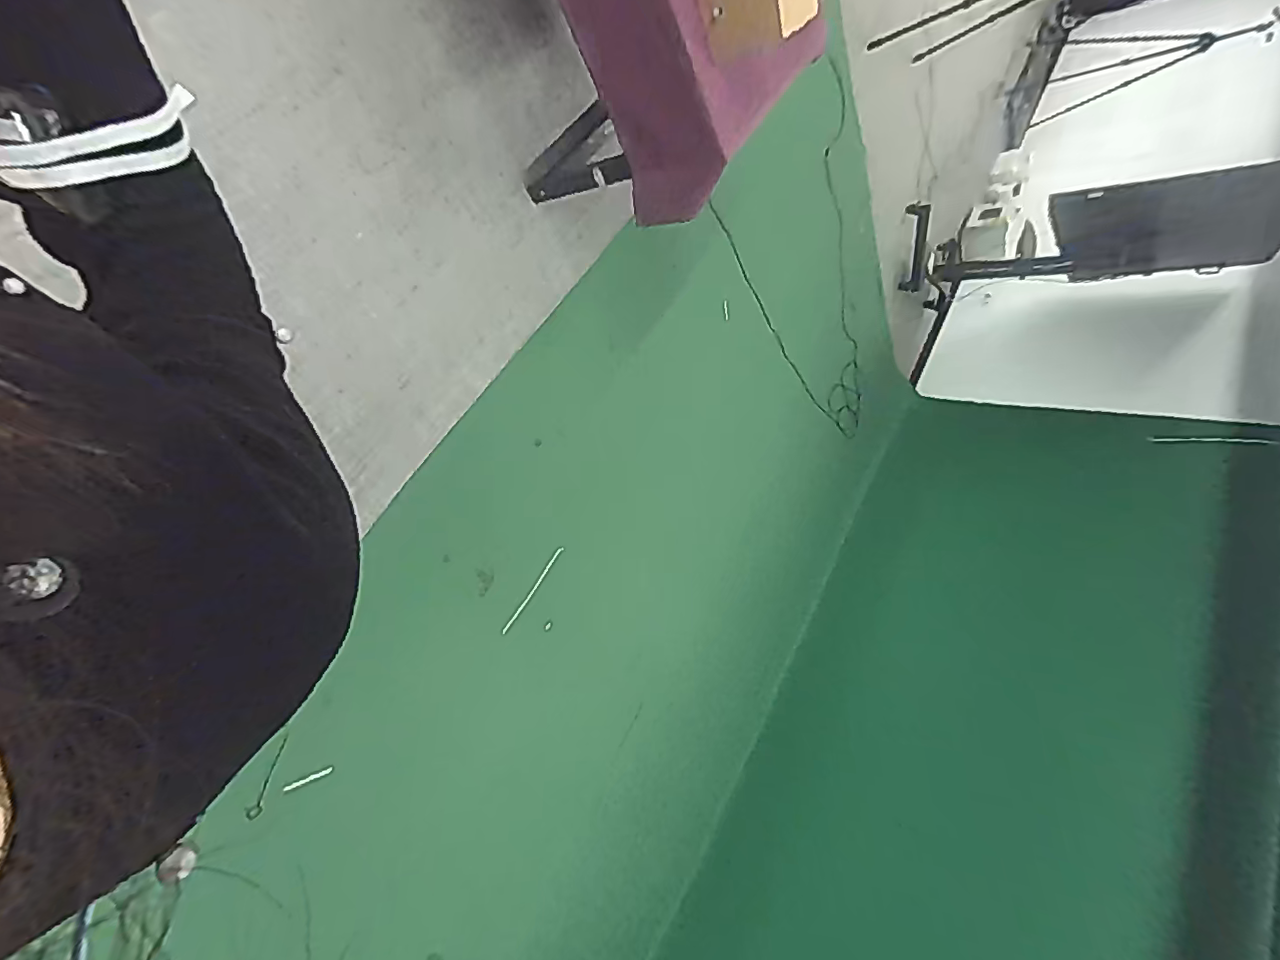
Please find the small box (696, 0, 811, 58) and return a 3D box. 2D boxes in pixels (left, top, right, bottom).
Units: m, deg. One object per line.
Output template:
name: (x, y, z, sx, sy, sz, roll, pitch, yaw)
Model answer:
small box: (0.226, -1.001, 1.104, 0.168, 0.176, 0.179, -52, 134, -27)
